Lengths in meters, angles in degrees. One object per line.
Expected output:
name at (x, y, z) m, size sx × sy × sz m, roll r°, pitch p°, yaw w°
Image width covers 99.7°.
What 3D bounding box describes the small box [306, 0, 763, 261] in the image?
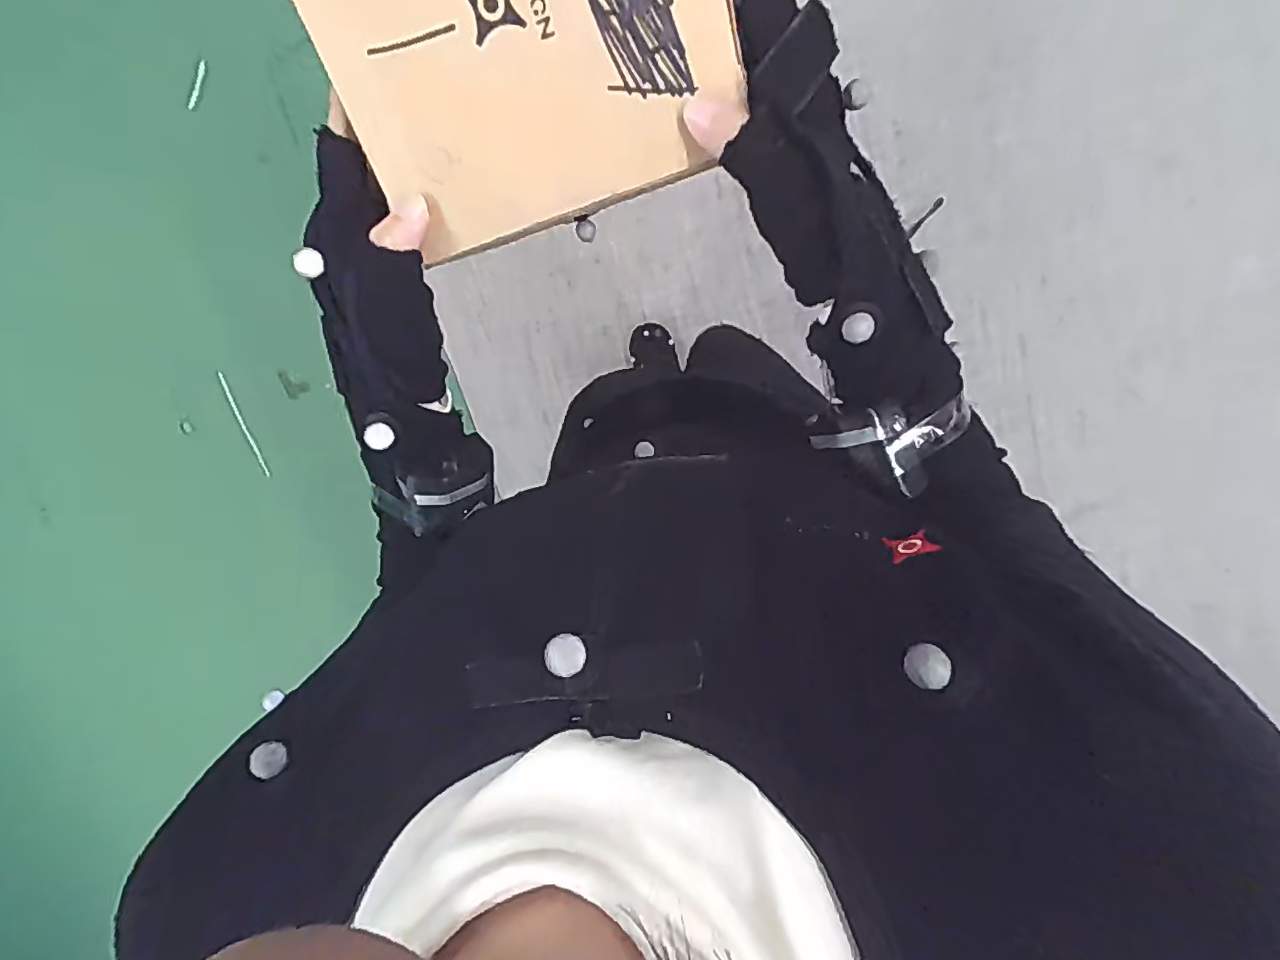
small box at (-0.052, -0.242, 0.299) m, size 0.179 × 0.176 × 0.168 m, roll -19°, pitch 116°, yaw 9°
